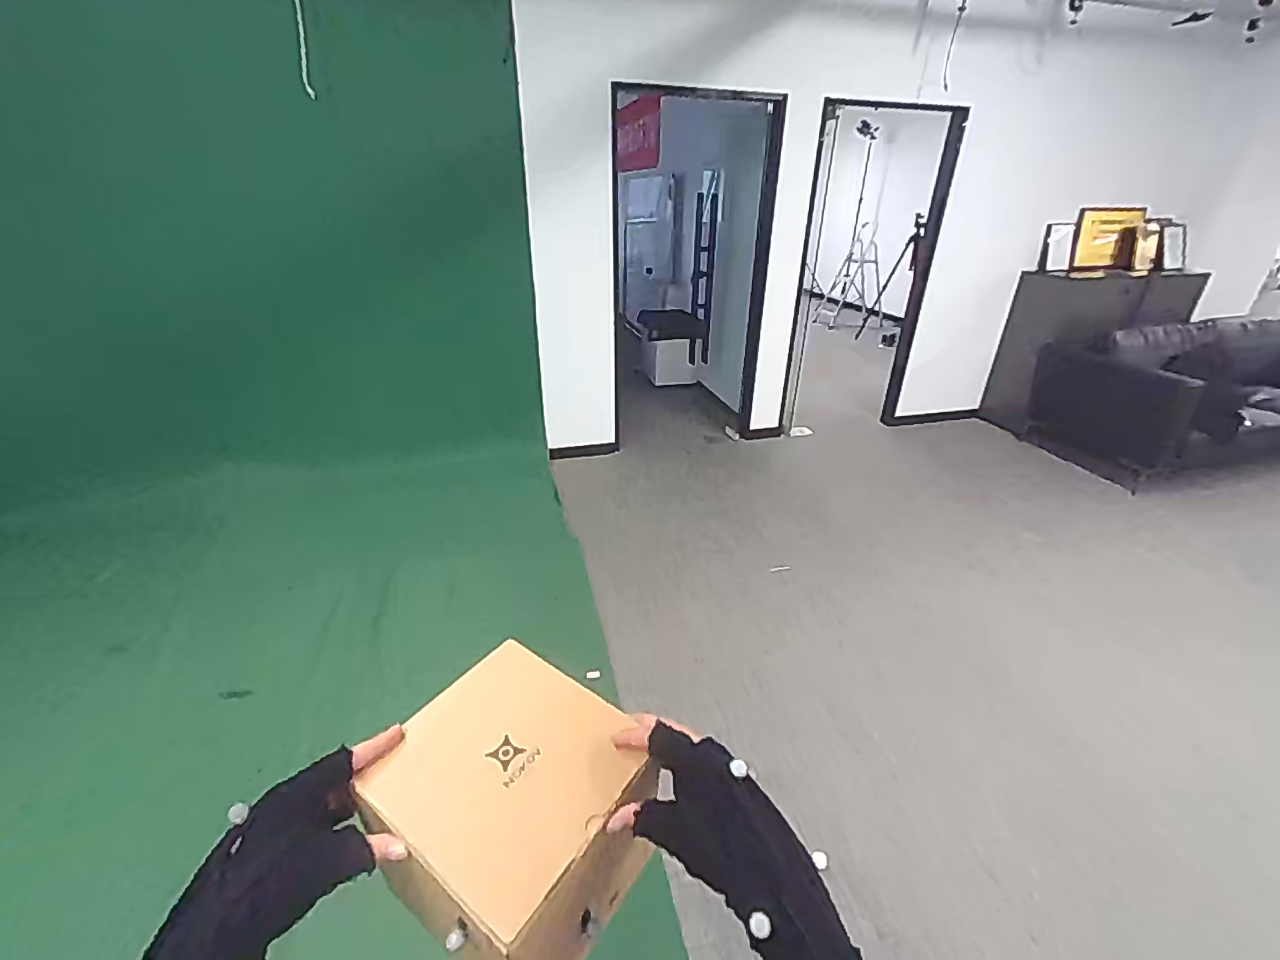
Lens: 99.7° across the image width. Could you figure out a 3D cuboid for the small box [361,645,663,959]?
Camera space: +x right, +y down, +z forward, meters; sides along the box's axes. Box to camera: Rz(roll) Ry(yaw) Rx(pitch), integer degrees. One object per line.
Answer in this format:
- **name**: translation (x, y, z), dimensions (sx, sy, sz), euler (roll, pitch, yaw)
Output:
- **small box**: translation (-0.101, 0.285, 0.461), dimensions (0.179, 0.176, 0.168), euler (22, 35, 29)
